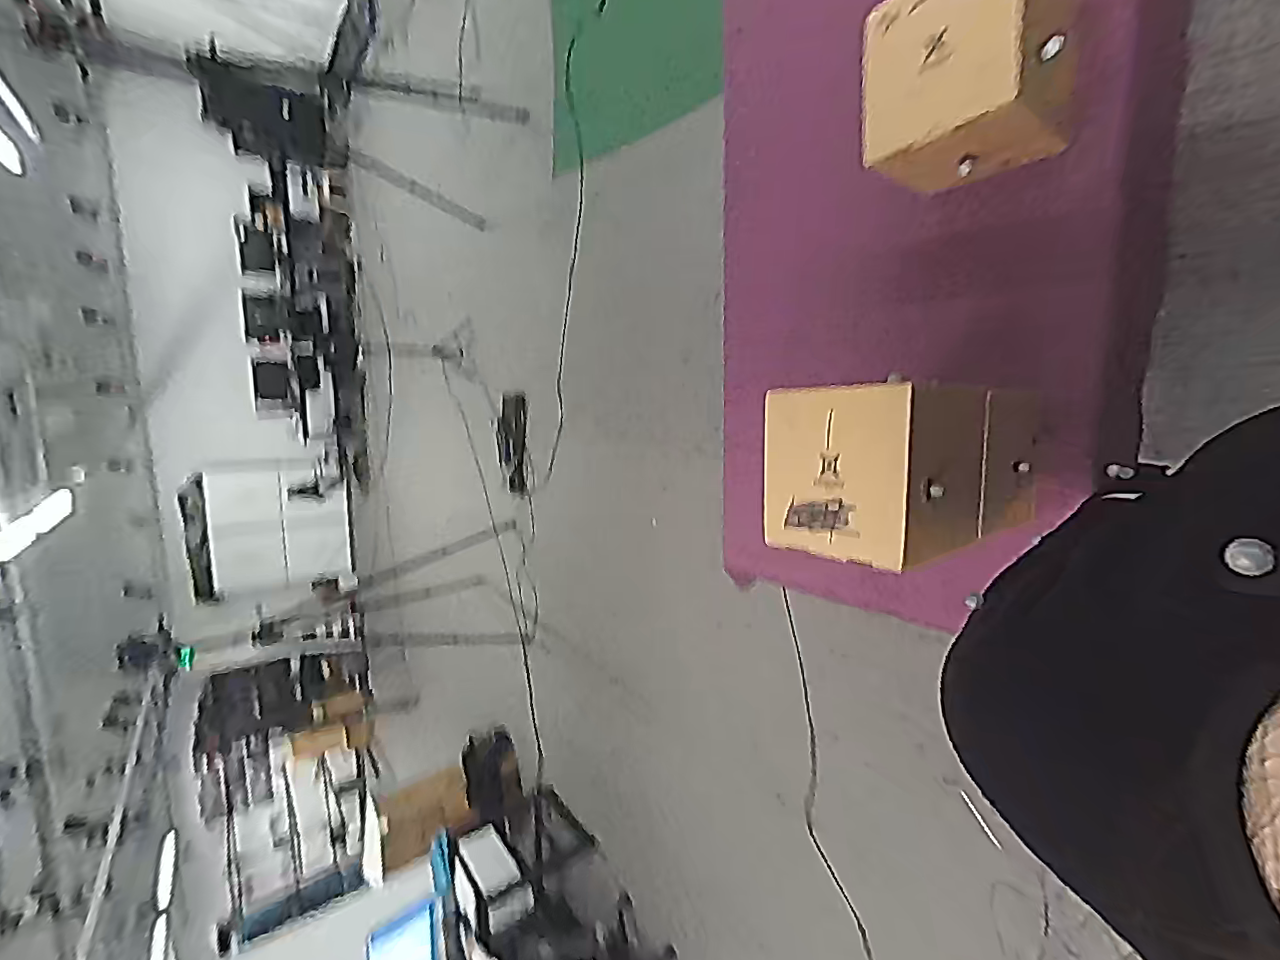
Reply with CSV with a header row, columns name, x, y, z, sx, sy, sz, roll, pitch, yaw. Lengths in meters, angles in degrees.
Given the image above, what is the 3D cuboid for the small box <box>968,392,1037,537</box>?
name,x,y,z,sx,sy,sz,roll,pitch,yaw
small box,0.389,-0.031,0.707,0.179,0.176,0.168,8,101,53

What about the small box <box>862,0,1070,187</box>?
name,x,y,z,sx,sy,sz,roll,pitch,yaw
small box,0.388,-0.474,0.648,0.168,0.176,0.179,6,100,52

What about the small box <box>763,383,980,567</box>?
name,x,y,z,sx,sy,sz,roll,pitch,yaw
small box,0.258,-0.016,0.608,0.168,0.176,0.179,8,100,52
